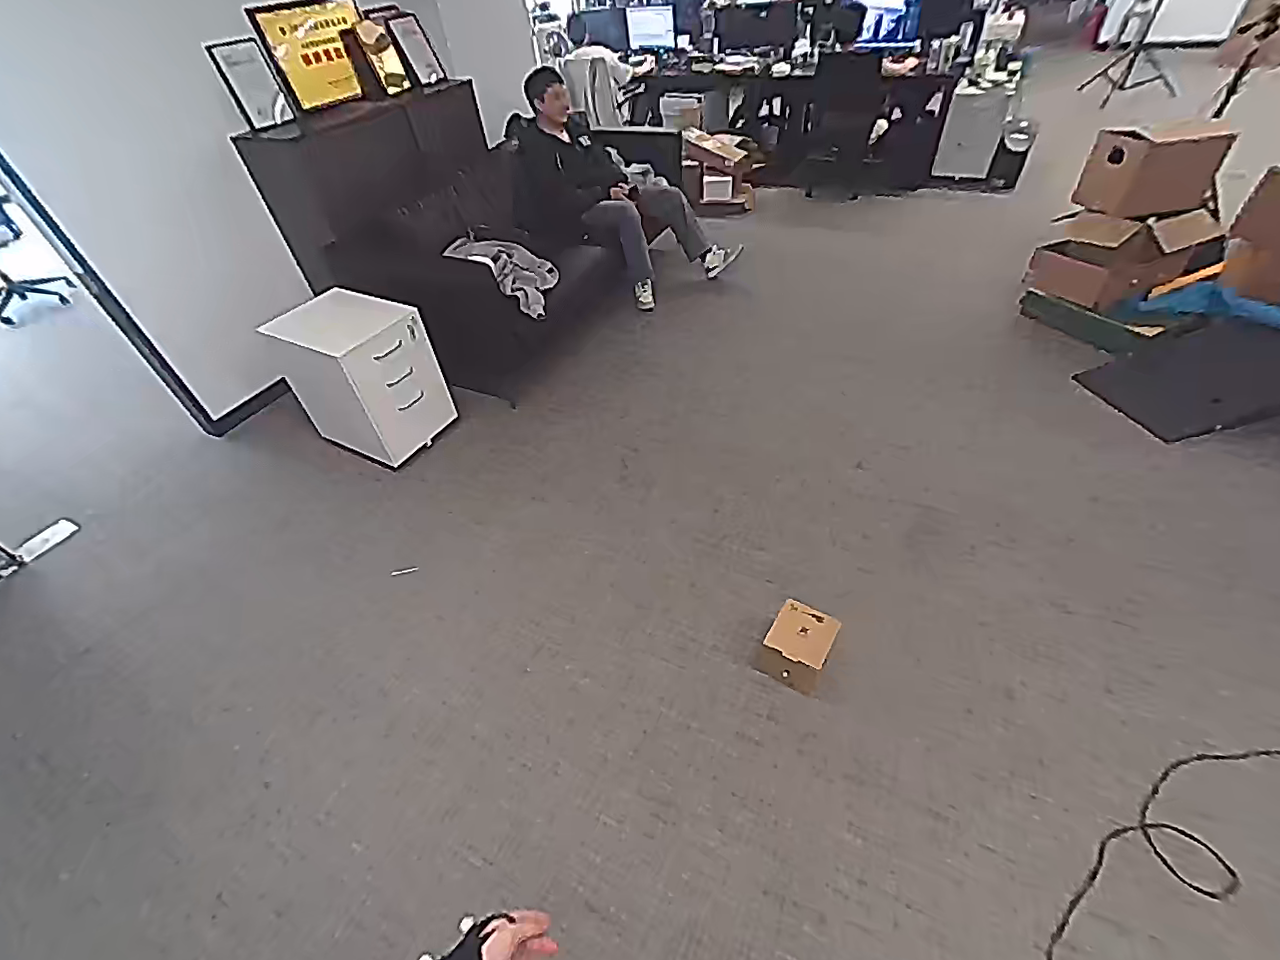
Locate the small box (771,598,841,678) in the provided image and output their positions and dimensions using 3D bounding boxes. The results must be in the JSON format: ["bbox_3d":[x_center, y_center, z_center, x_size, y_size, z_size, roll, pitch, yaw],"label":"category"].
[{"bbox_3d":[0.477,0.464,1.582,0.179,0.176,0.168,-2,43,8],"label":"small box"}]
